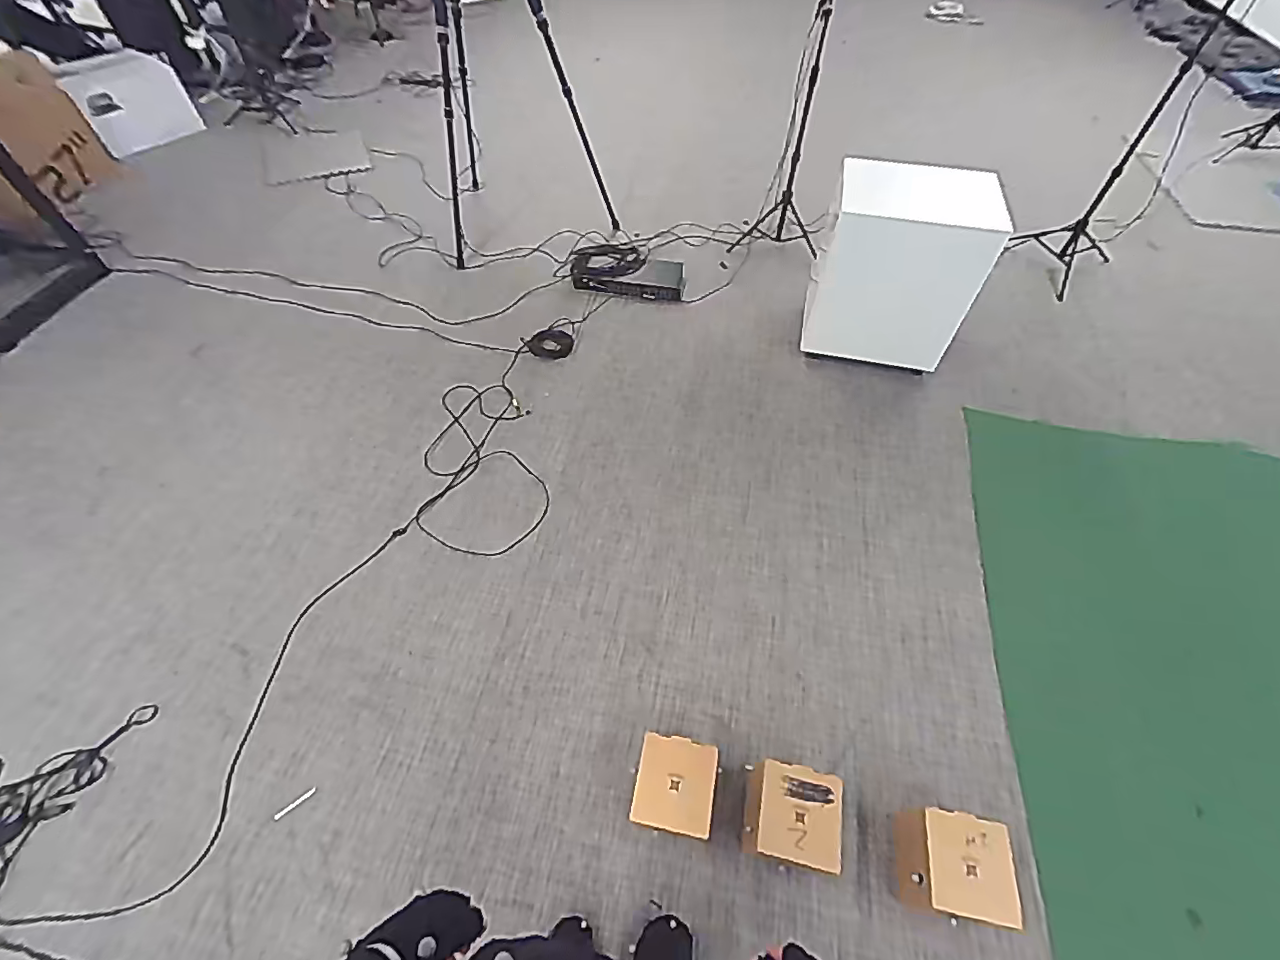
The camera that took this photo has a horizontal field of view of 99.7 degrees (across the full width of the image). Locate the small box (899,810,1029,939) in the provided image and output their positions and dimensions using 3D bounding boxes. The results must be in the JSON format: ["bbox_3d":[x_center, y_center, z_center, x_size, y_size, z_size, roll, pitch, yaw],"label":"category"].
[{"bbox_3d":[0.653,0.806,1.114,0.168,0.176,0.179,10,54,7],"label":"small box"}]

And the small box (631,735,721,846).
[{"bbox_3d":[0.081,0.692,1.197,0.168,0.176,0.179,9,54,7],"label":"small box"}]
